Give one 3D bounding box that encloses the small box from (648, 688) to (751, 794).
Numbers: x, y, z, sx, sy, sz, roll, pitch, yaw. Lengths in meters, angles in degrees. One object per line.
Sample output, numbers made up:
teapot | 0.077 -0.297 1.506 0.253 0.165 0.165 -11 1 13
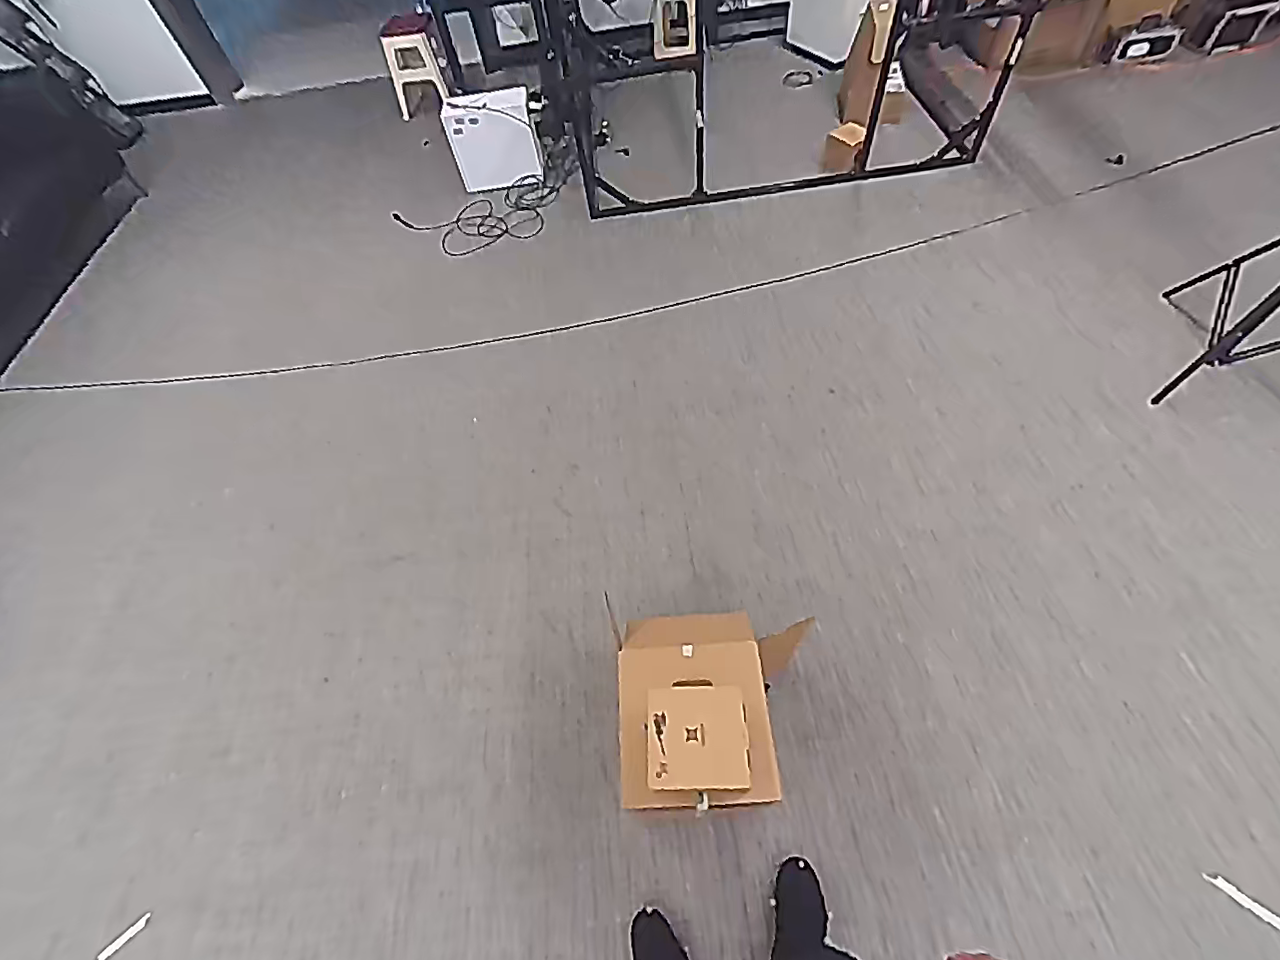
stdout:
small box | 0.108 0.496 1.024 0.179 0.176 0.168 -2 58 5
